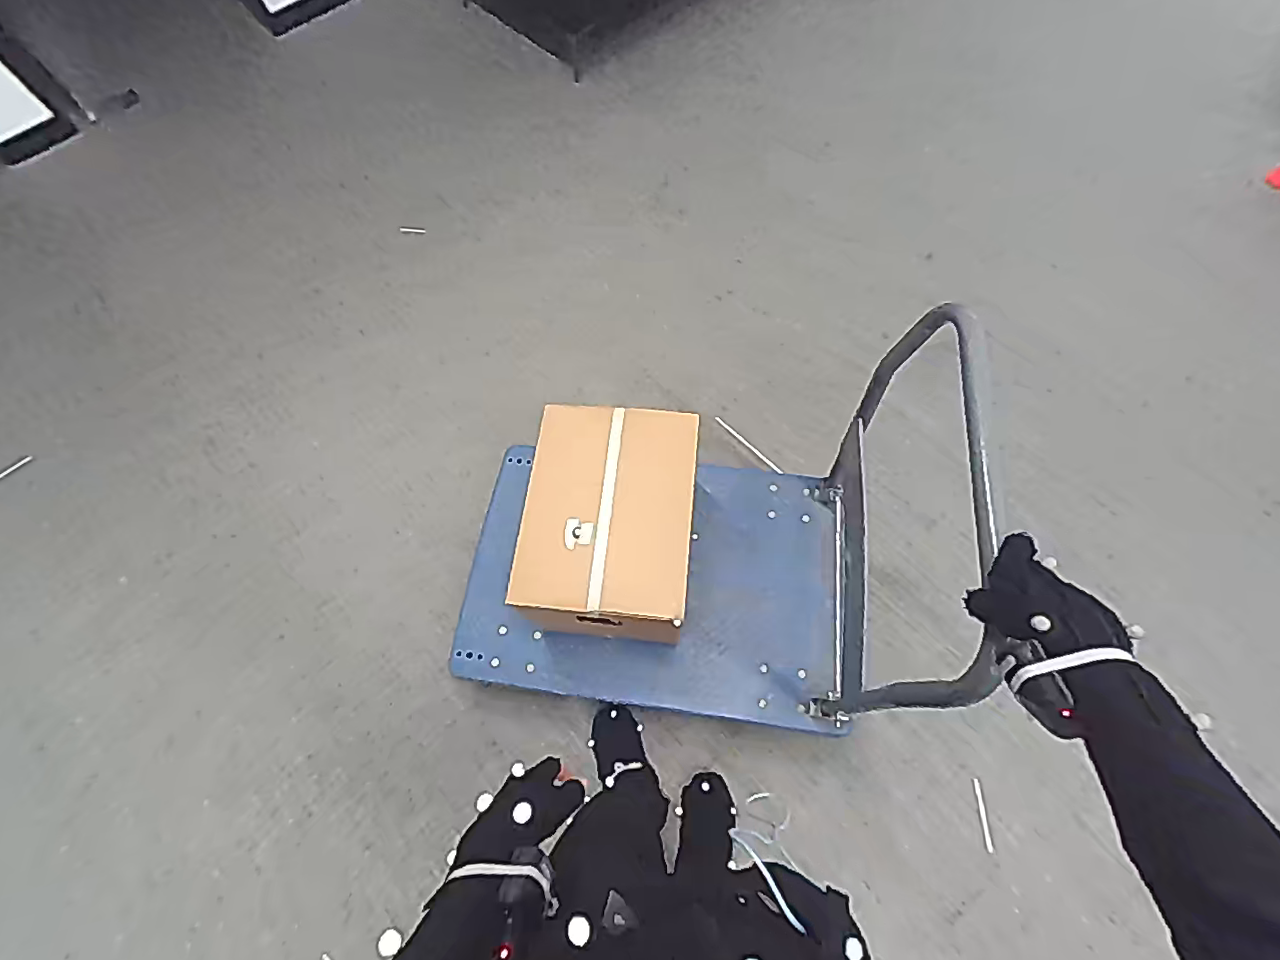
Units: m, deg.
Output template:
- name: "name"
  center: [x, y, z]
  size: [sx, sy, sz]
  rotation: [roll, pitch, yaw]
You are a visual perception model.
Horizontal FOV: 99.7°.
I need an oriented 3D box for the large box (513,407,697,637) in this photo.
- name: "large box"
  center: [-0.049, 0.098, 1.145]
  size: [0.320, 0.320, 0.408]
  rotation: [4, 68, 6]
